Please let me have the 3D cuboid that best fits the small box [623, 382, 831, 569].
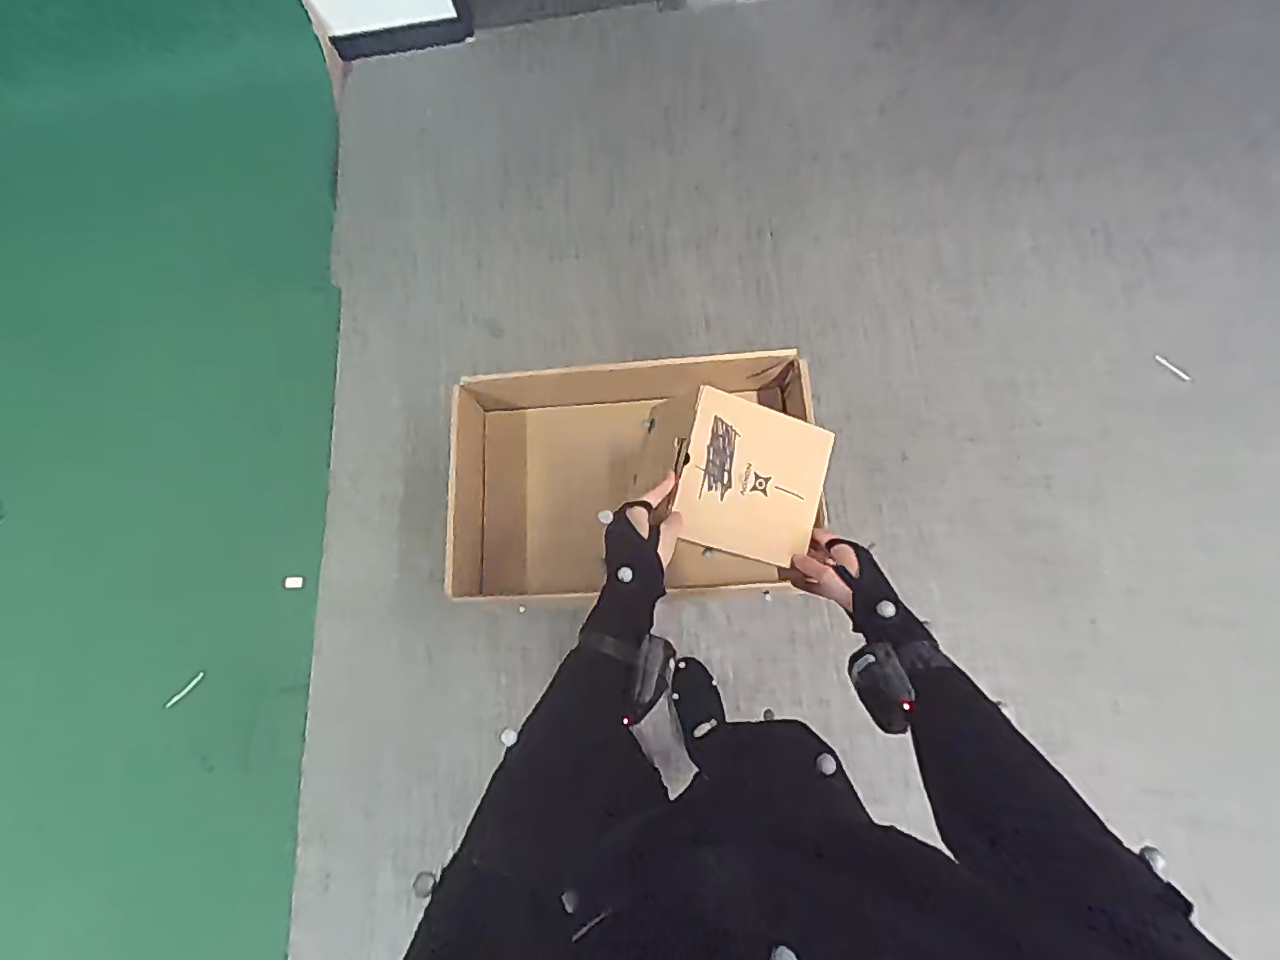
[{"bbox_3d":[0.094,0.001,0.658,0.179,0.176,0.168,17,83,-17],"label":"small box"}]
